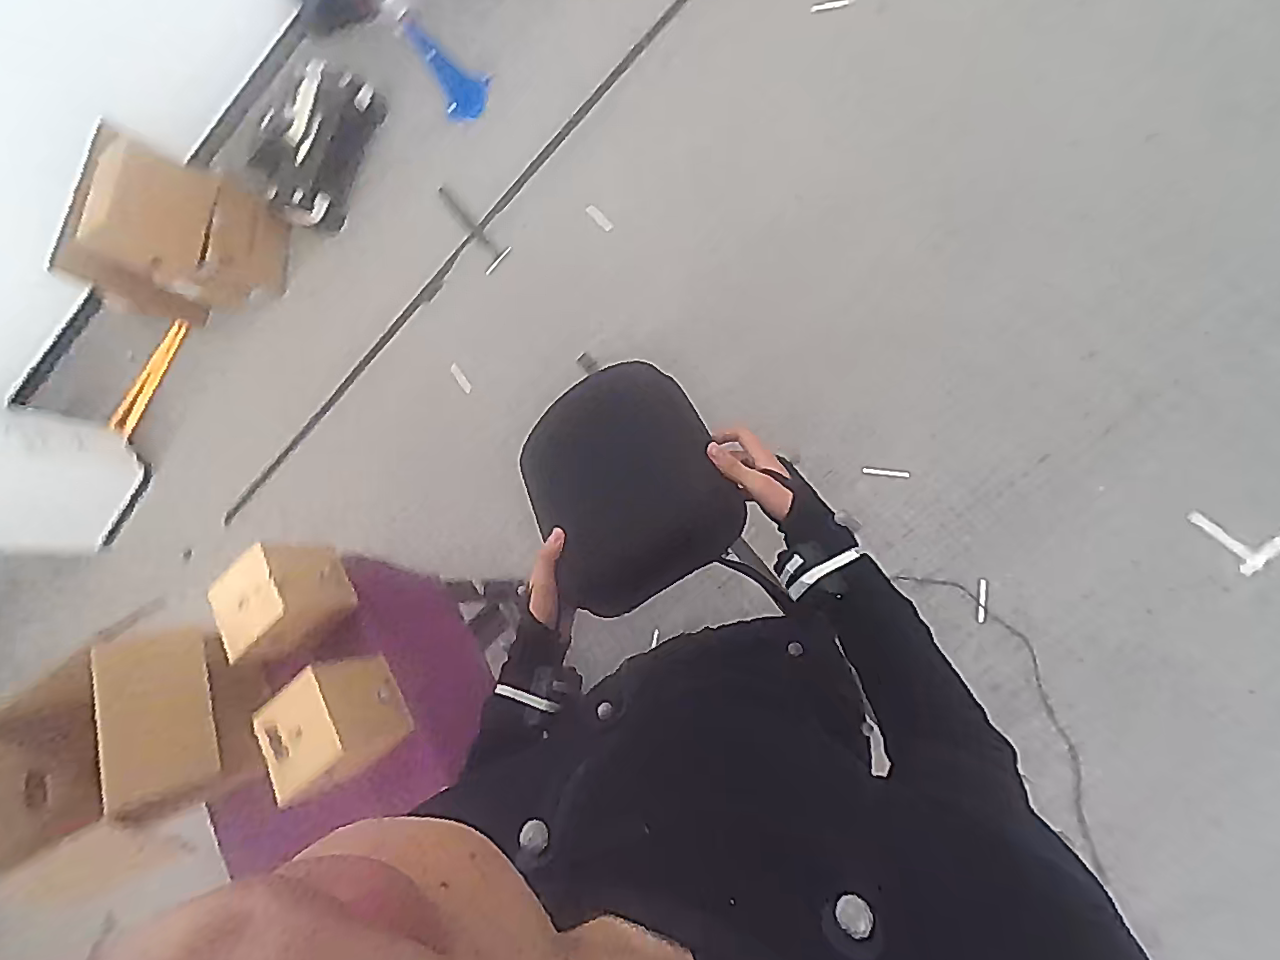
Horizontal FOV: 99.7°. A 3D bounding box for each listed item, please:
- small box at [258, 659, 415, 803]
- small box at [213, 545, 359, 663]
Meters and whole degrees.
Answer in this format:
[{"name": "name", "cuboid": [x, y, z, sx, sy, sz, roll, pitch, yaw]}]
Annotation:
[{"name": "small box", "cuboid": [-0.570, 0.465, 1.028, 0.179, 0.176, 0.168, -41, 69, 11]}, {"name": "small box", "cuboid": [-0.732, 0.253, 1.127, 0.179, 0.176, 0.168, -41, 70, 12]}]
